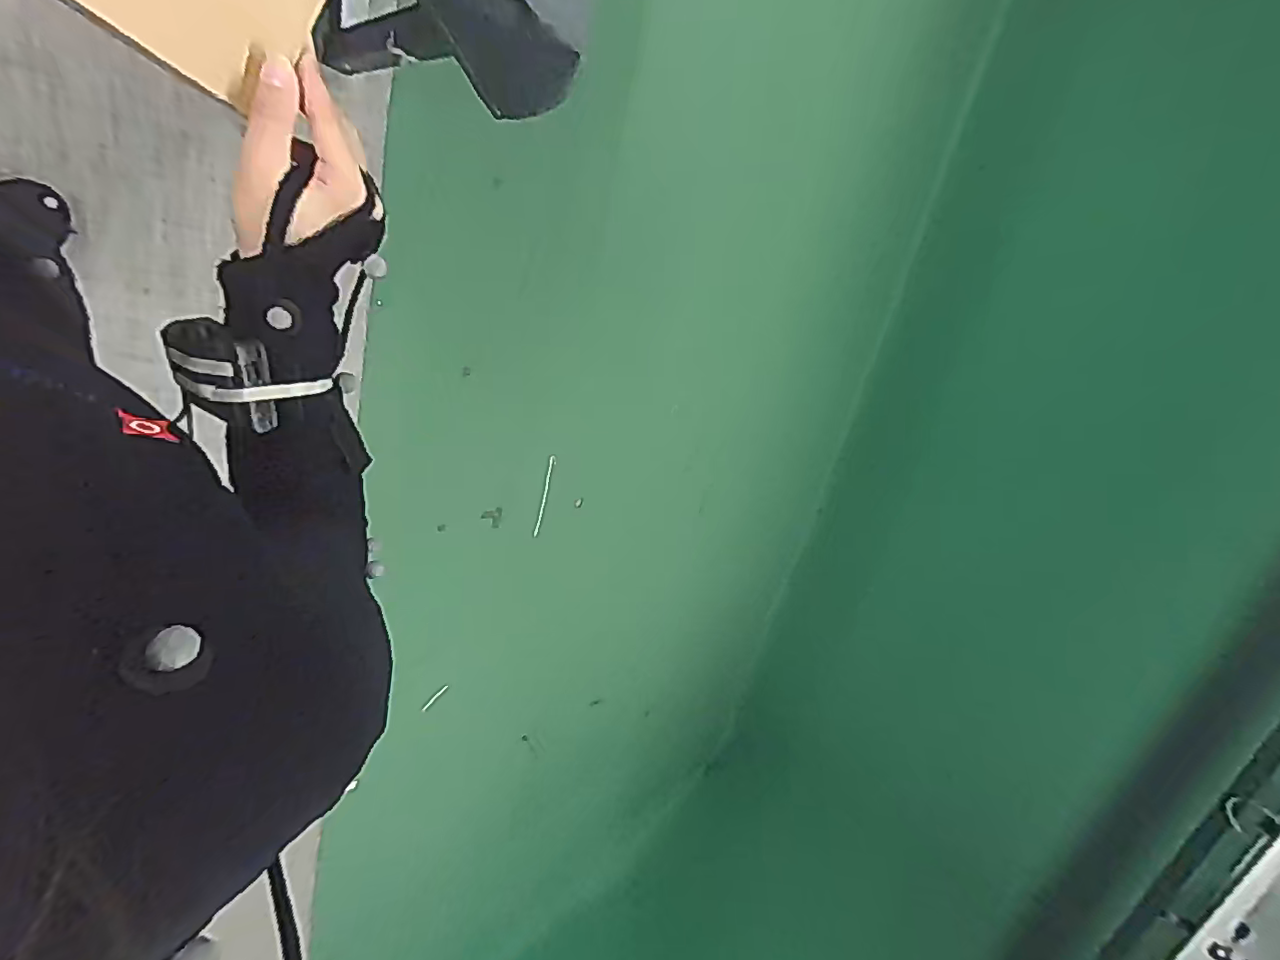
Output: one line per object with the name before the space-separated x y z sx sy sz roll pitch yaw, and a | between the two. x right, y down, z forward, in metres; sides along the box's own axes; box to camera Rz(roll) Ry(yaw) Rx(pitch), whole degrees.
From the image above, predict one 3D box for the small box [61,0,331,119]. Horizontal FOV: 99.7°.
small box | -0.246 -0.316 0.246 0.179 0.176 0.168 -58 149 8
